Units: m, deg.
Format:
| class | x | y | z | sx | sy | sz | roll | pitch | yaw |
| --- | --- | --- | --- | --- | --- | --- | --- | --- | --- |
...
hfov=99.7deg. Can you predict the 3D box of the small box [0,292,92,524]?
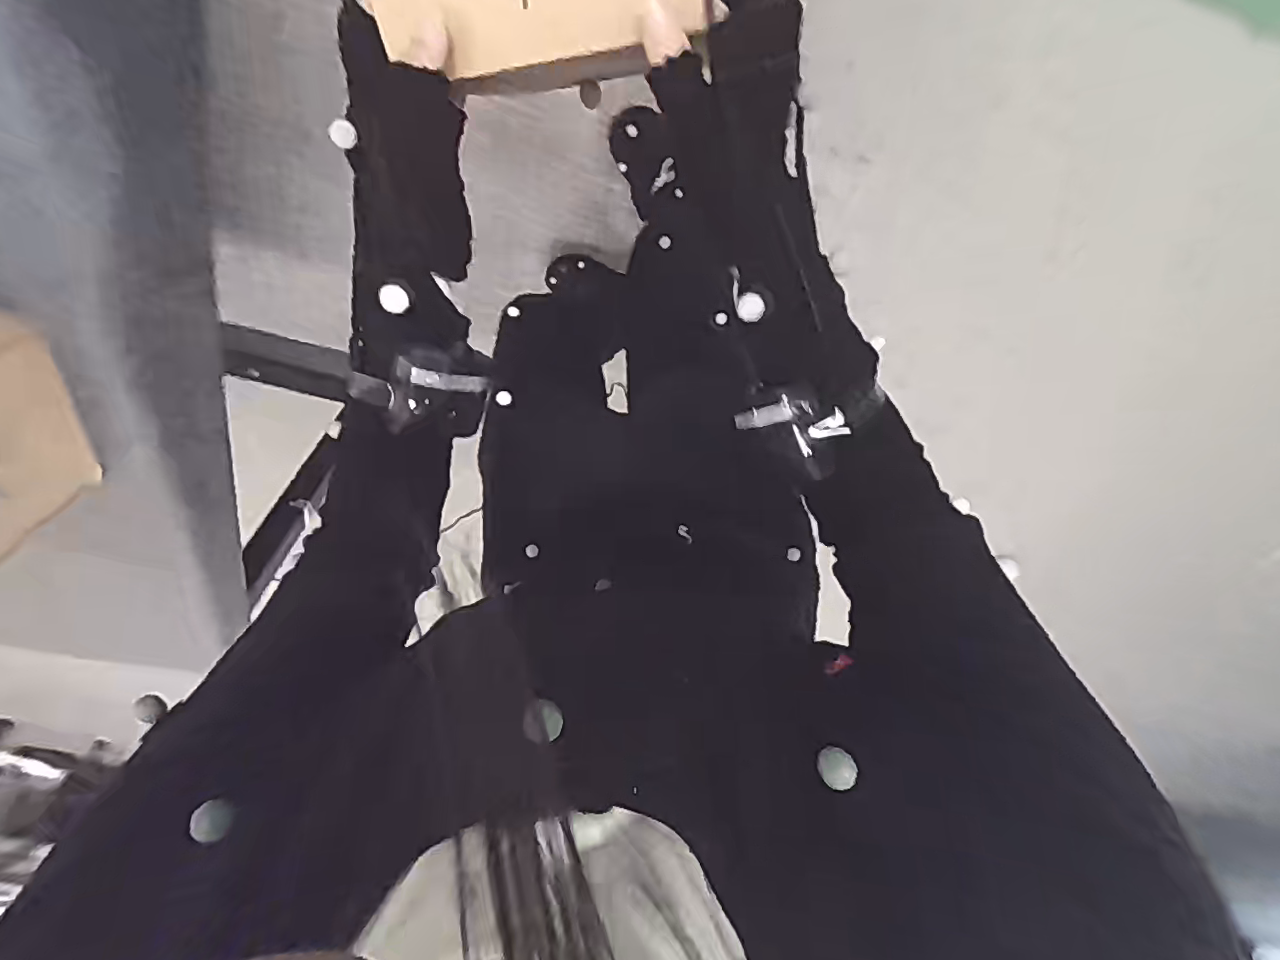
| class | x | y | z | sx | sy | sz | roll | pitch | yaw |
| --- | --- | --- | --- | --- | --- | --- | --- | --- | --- |
| small box | -0.585 | -0.051 | 0.408 | 0.168 | 0.176 | 0.179 | 16 | 131 | -11 |
